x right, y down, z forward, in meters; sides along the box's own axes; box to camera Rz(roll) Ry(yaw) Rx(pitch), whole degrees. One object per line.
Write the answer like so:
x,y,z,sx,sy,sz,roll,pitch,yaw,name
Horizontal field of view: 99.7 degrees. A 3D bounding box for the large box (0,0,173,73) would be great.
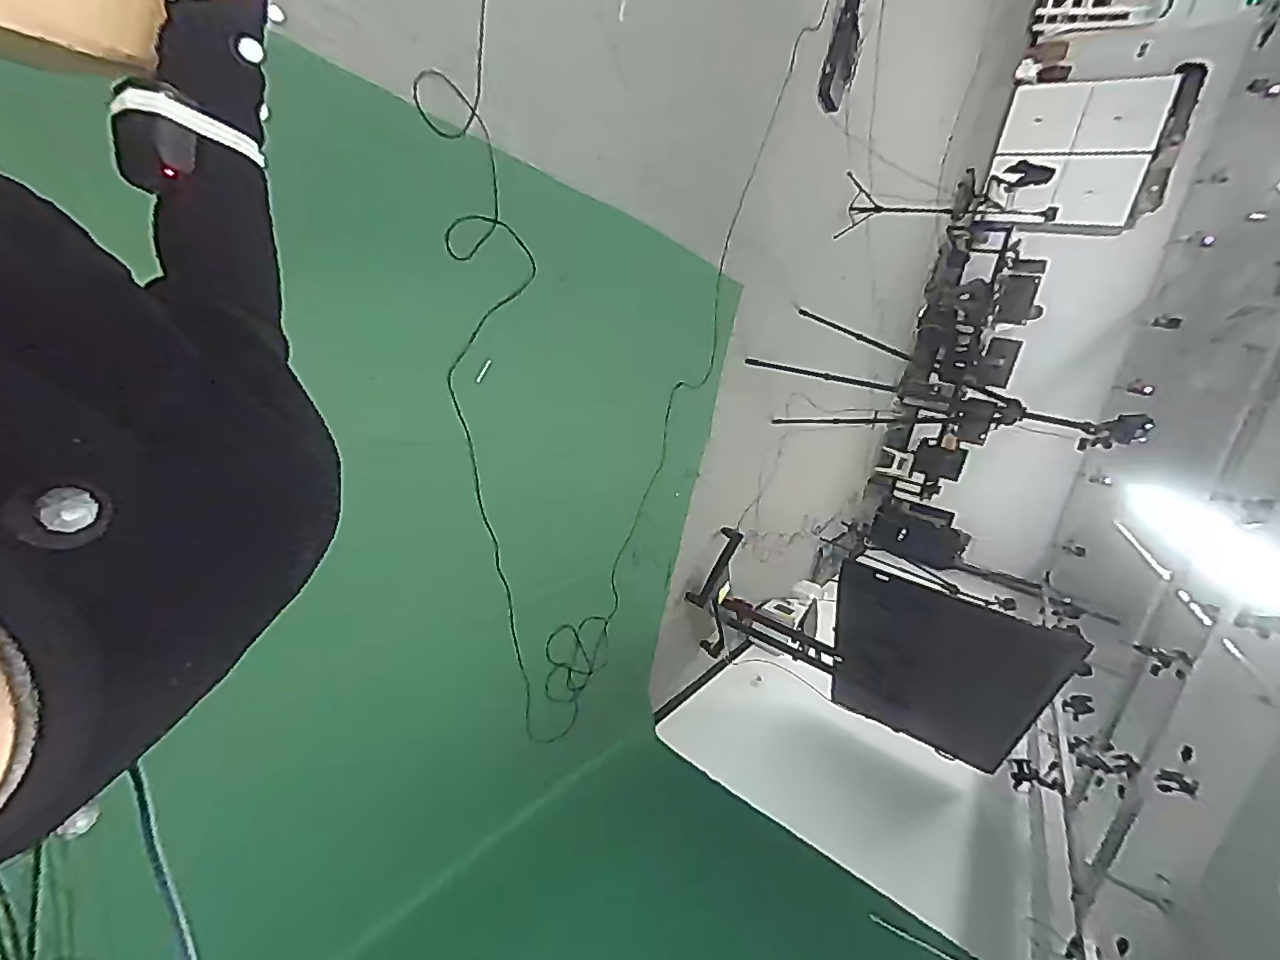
-0.578,-0.482,0.296,0.408,0.320,0.320,-20,128,-54,large box
